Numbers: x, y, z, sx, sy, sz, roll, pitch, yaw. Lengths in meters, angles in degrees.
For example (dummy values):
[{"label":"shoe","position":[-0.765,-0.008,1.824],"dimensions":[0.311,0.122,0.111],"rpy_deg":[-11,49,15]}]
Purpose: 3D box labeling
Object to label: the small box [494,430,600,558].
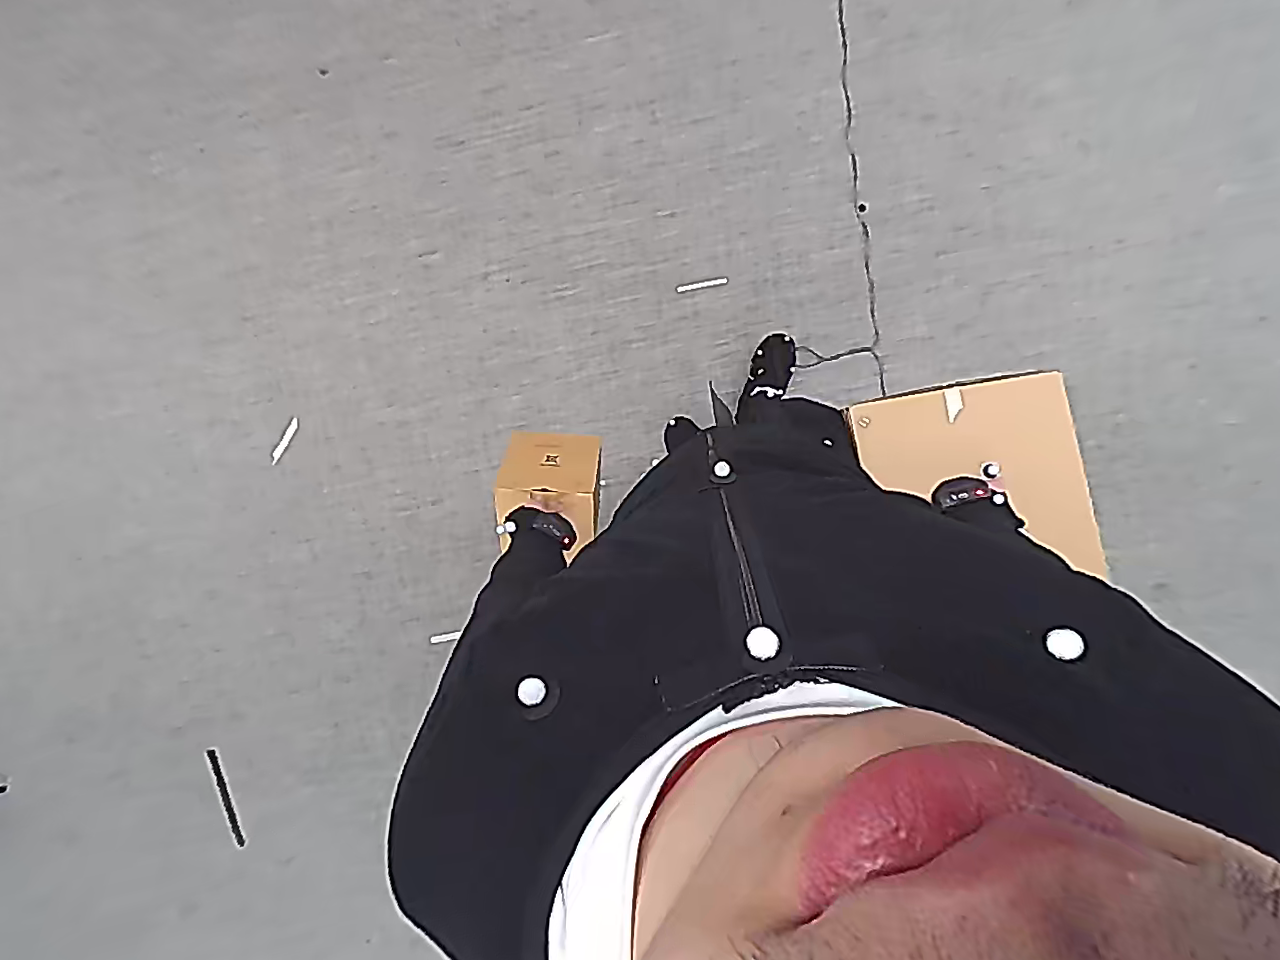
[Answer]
[{"label":"small box","position":[-0.163,0.028,1.003],"dimensions":[0.168,0.179,0.176],"rpy_deg":[4,127,-2]}]
